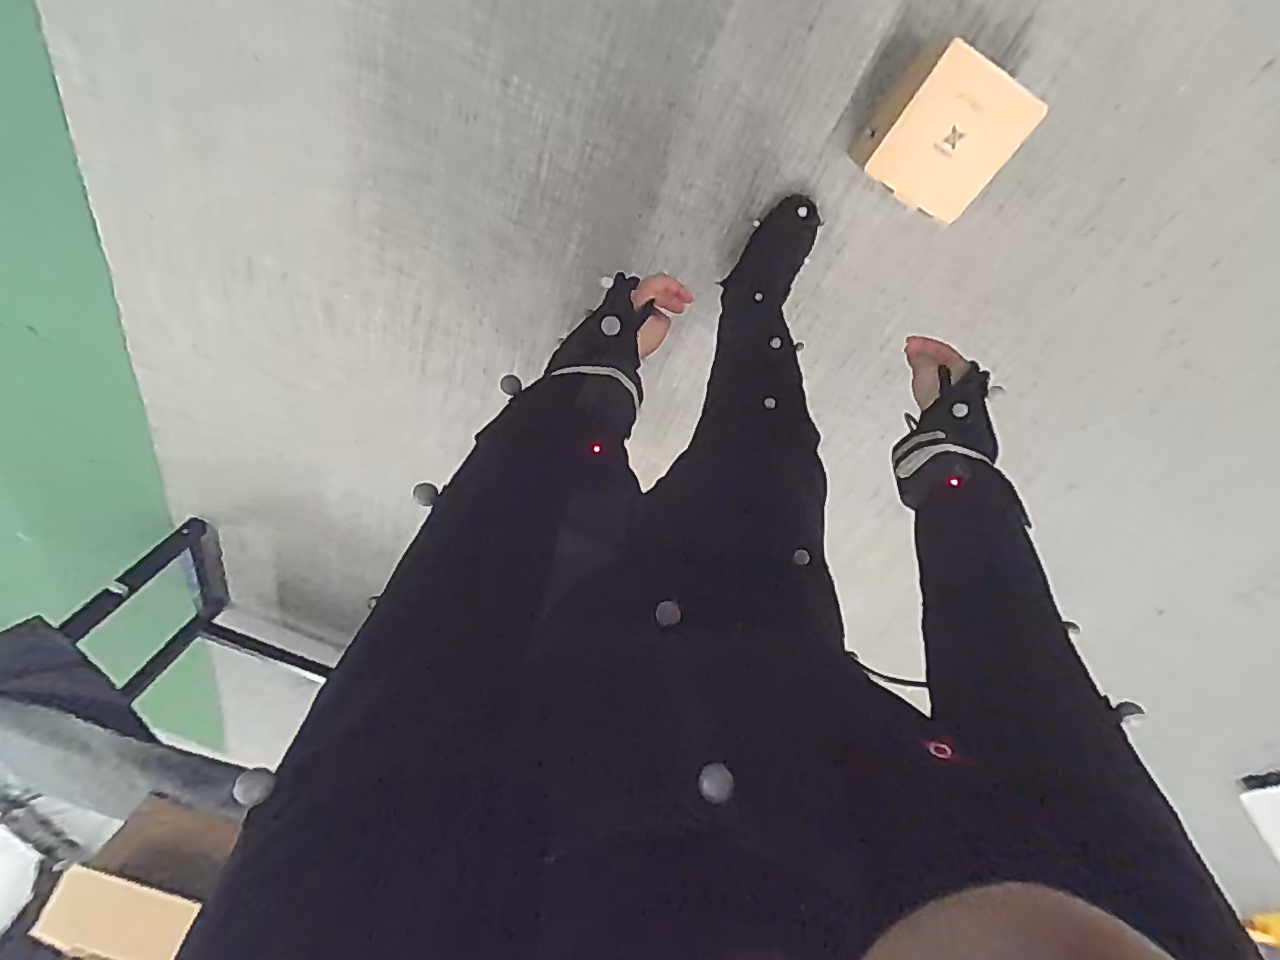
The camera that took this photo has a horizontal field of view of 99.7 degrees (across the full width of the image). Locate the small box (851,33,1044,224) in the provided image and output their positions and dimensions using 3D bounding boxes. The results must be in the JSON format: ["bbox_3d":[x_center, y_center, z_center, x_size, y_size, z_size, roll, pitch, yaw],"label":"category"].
[{"bbox_3d":[0.441,-0.526,0.815,0.168,0.176,0.179,27,127,-10],"label":"small box"}]
